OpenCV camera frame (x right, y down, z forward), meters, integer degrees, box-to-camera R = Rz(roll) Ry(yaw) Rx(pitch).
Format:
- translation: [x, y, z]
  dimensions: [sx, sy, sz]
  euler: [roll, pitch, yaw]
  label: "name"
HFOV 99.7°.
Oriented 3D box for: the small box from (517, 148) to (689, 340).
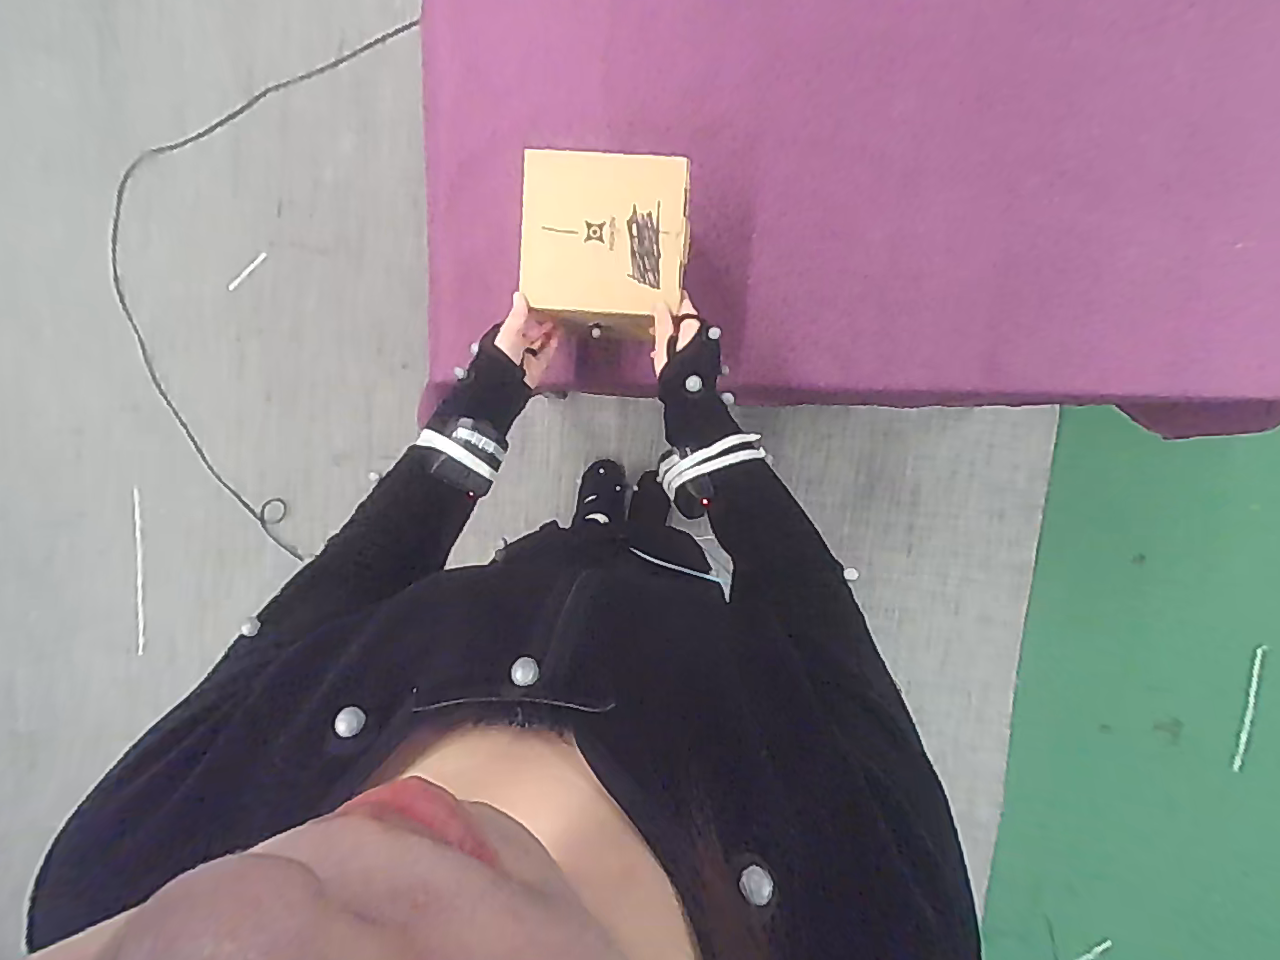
- translation: [-0.040, -0.270, 0.657]
  dimensions: [0.179, 0.176, 0.168]
  euler: [4, 95, 1]
  label: "small box"
